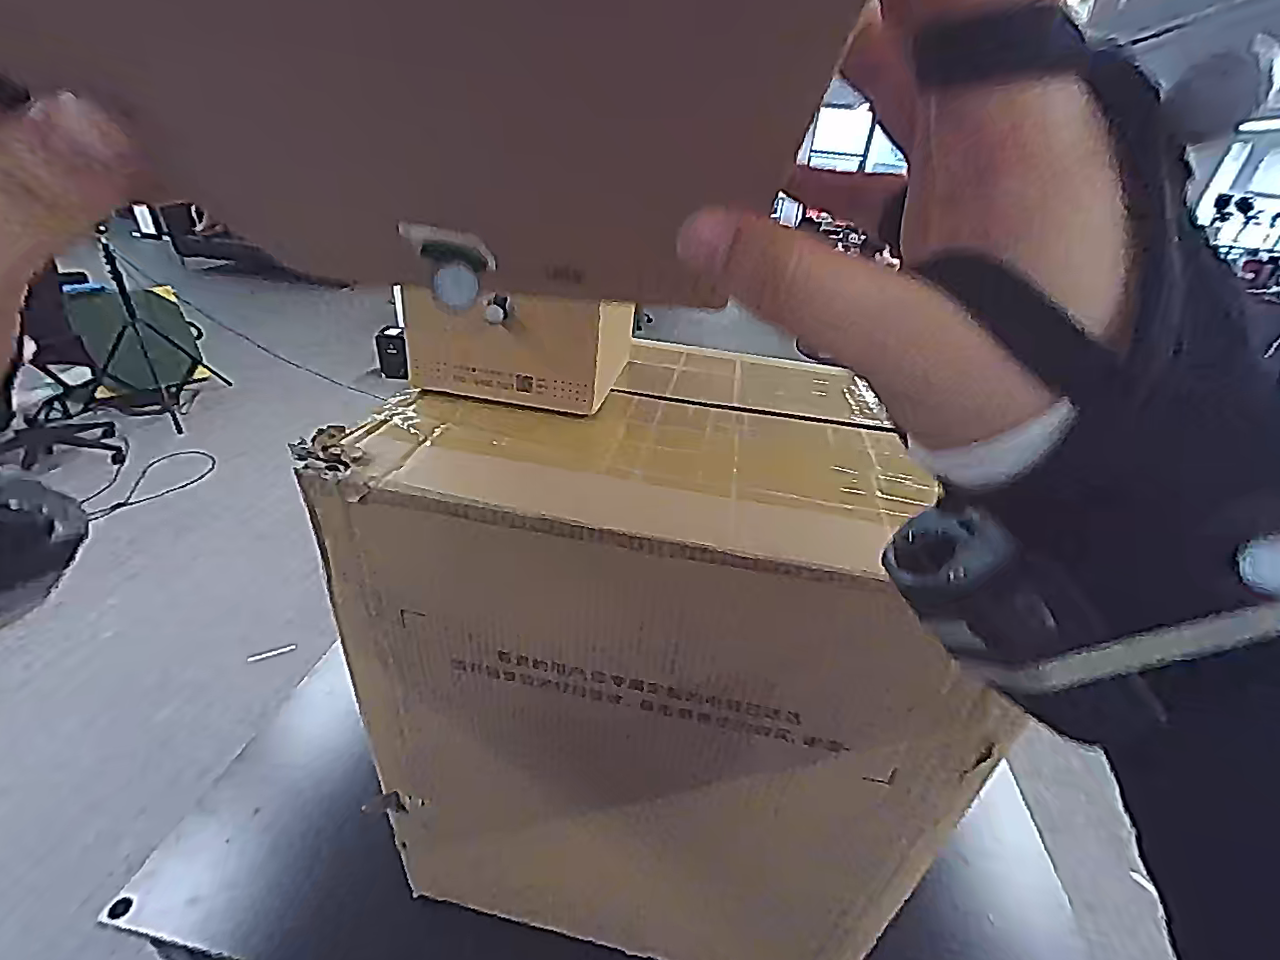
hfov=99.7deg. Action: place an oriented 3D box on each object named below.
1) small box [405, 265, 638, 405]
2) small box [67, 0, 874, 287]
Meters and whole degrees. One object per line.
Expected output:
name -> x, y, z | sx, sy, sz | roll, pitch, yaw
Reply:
small box -> -0.093, -0.179, 0.489 | 0.168, 0.176, 0.179 | 9, 30, 5
small box -> -0.036, -0.169, 0.131 | 0.168, 0.179, 0.176 | 3, -2, 0
